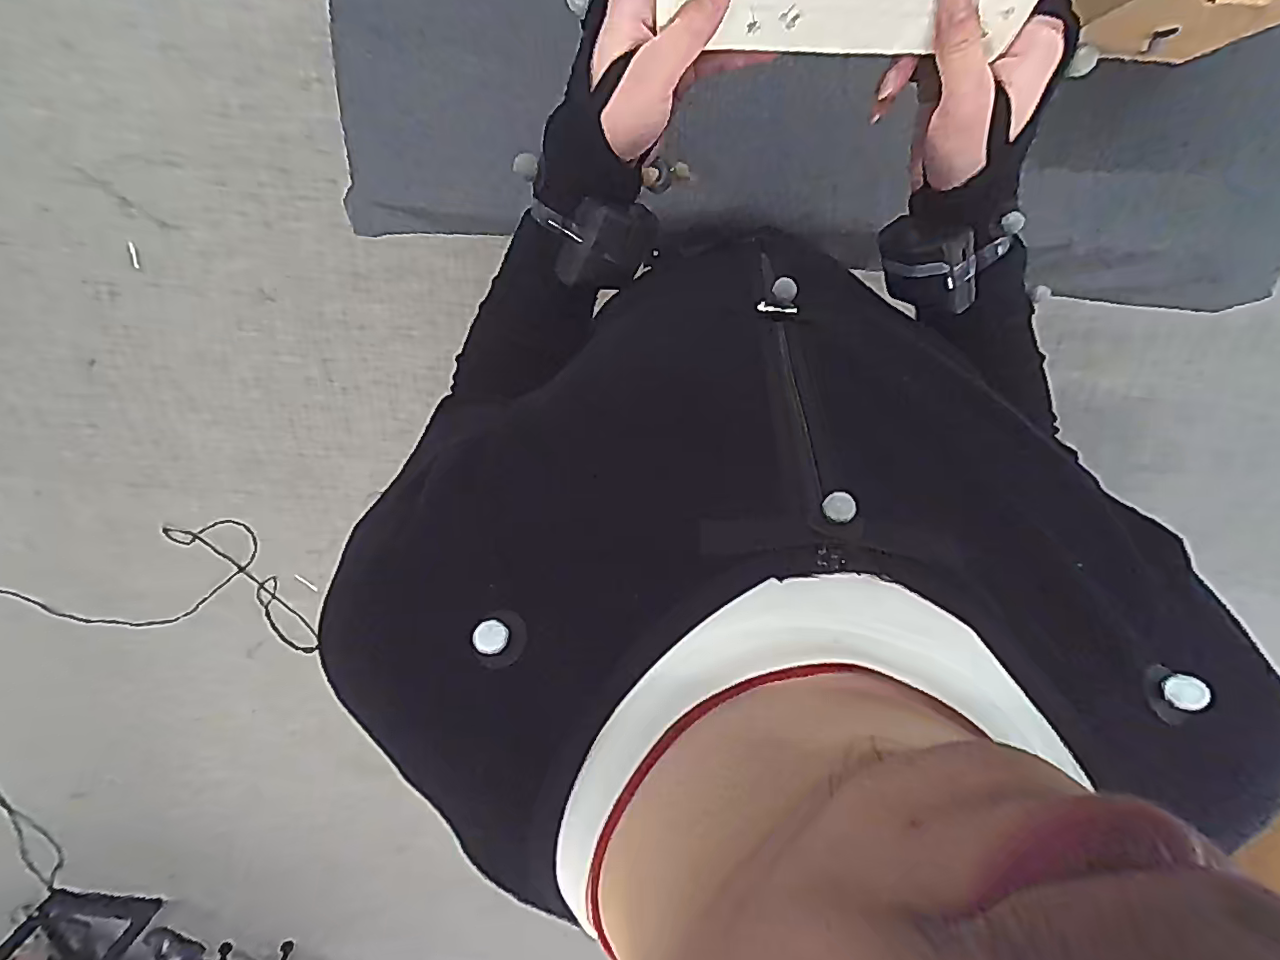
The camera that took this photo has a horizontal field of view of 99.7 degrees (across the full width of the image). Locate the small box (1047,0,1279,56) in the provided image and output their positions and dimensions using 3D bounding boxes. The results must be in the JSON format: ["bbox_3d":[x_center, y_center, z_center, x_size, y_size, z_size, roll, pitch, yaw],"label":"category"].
[{"bbox_3d":[0.534,-0.529,0.510,0.168,0.176,0.179,5,114,3],"label":"small box"}]
